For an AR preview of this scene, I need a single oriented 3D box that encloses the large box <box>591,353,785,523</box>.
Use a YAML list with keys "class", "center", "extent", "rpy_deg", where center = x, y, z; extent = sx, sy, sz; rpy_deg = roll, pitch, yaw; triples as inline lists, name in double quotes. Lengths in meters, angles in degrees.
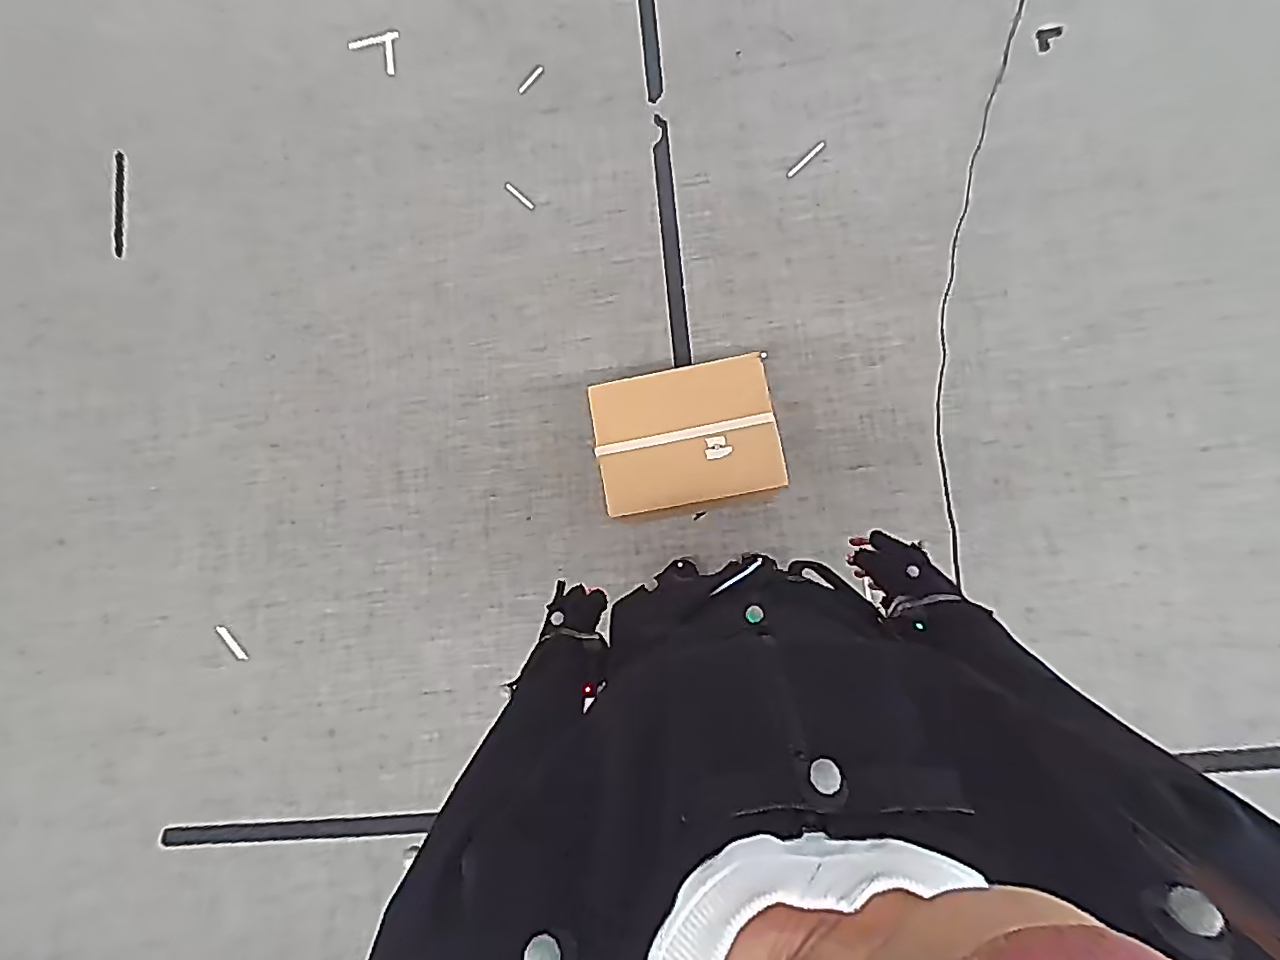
- class: "large box"
  center: [0.117, -0.085, 1.379]
  extent: [0.408, 0.320, 0.320]
  rpy_deg: [-10, 81, 5]
